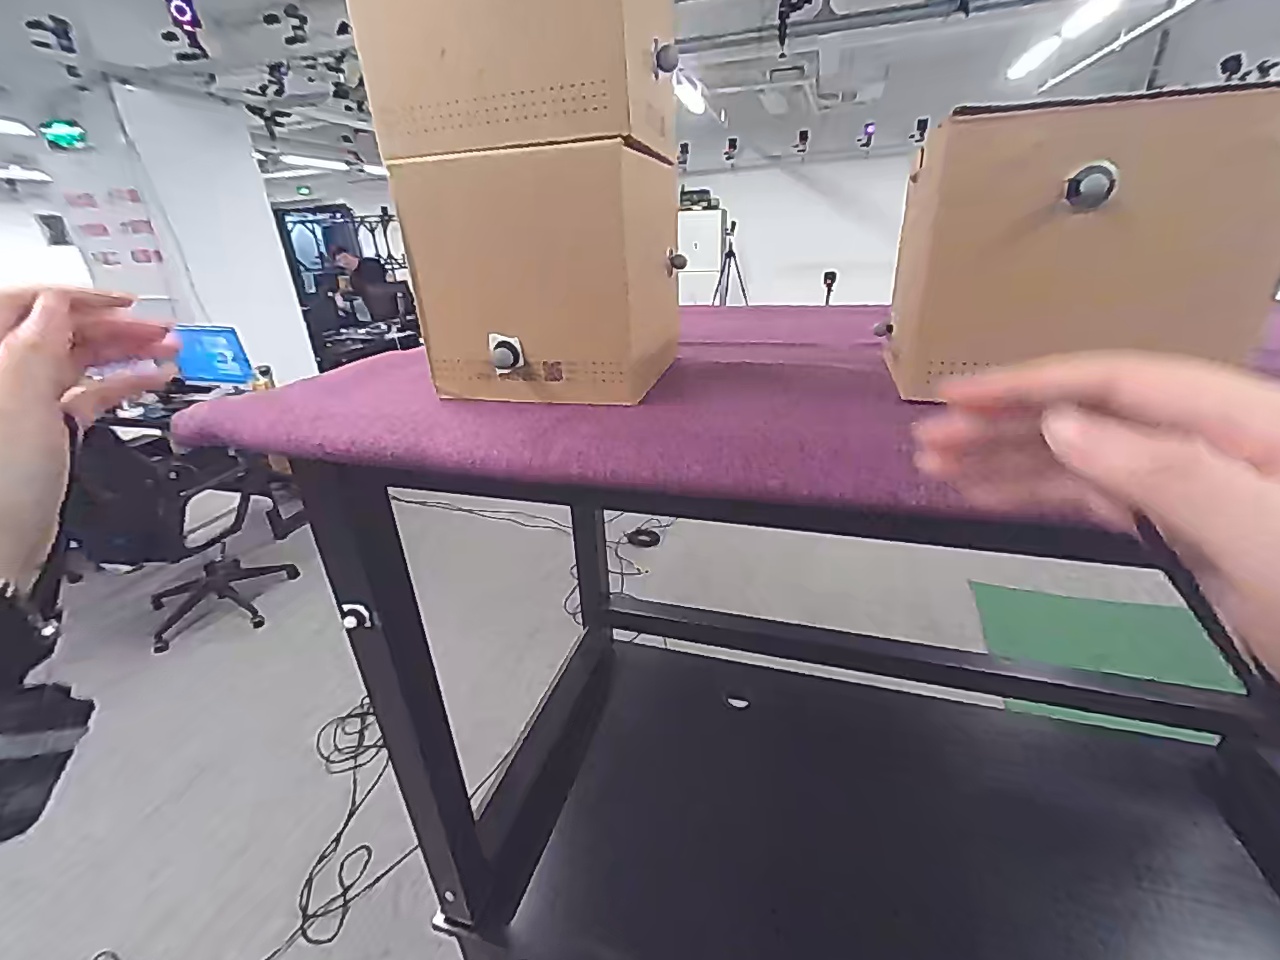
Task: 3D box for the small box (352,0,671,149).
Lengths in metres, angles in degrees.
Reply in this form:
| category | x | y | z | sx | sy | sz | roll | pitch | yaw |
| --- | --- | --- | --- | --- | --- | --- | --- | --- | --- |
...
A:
| category | x | y | z | sx | sy | sz | roll | pitch | yaw |
| --- | --- | --- | --- | --- | --- | --- | --- | --- | --- |
| small box | -0.079 | -0.323 | 0.374 | 0.179 | 0.176 | 0.168 | 2 | 26 | 13 |

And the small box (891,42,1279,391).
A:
| category | x | y | z | sx | sy | sz | roll | pitch | yaw |
| --- | --- | --- | --- | --- | --- | --- | --- | --- | --- |
| small box | 0.278 | -0.161 | 0.370 | 0.179 | 0.176 | 0.168 | 6 | 25 | 17 |

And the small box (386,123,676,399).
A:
| category | x | y | z | sx | sy | sz | roll | pitch | yaw |
| --- | --- | --- | --- | --- | --- | --- | --- | --- | --- |
| small box | -0.066 | -0.172 | 0.440 | 0.168 | 0.176 | 0.179 | 2 | 26 | 14 |
